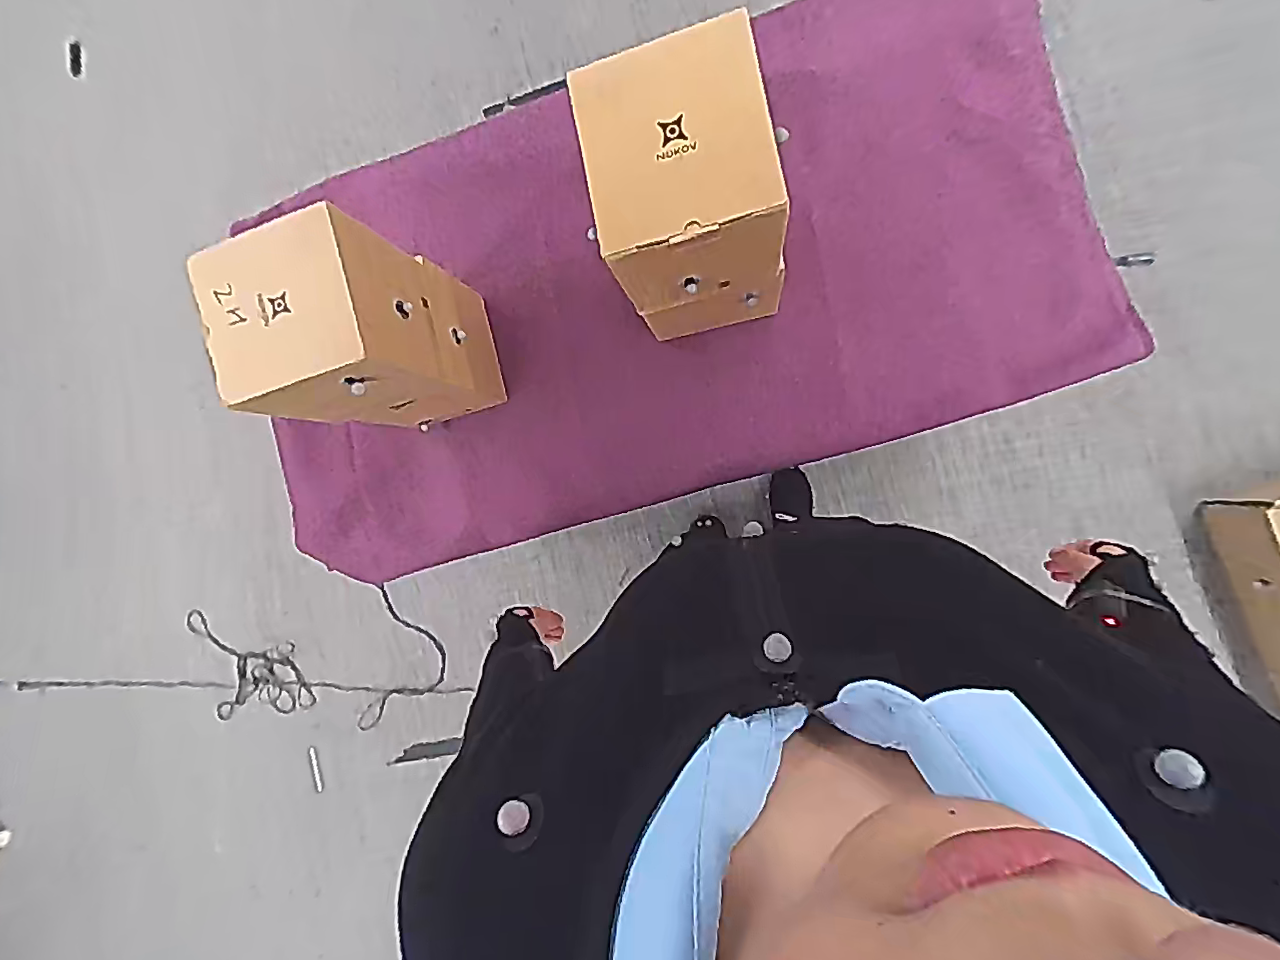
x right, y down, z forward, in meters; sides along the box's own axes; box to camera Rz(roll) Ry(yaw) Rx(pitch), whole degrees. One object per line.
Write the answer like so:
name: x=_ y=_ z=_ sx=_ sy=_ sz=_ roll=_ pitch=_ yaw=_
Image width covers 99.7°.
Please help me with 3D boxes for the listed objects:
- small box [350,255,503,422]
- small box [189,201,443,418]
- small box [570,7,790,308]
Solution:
small box: x=-0.319 y=-0.188 z=0.782 sx=0.168 sy=0.176 sz=0.179 roll=-15 pitch=87 yaw=10
small box: x=-0.350 y=-0.177 z=0.620 sx=0.179 sy=0.176 sz=0.168 roll=-15 pitch=88 yaw=10
small box: x=0.045 y=-0.299 z=0.545 sx=0.168 sy=0.176 sz=0.179 roll=-12 pitch=88 yaw=11
